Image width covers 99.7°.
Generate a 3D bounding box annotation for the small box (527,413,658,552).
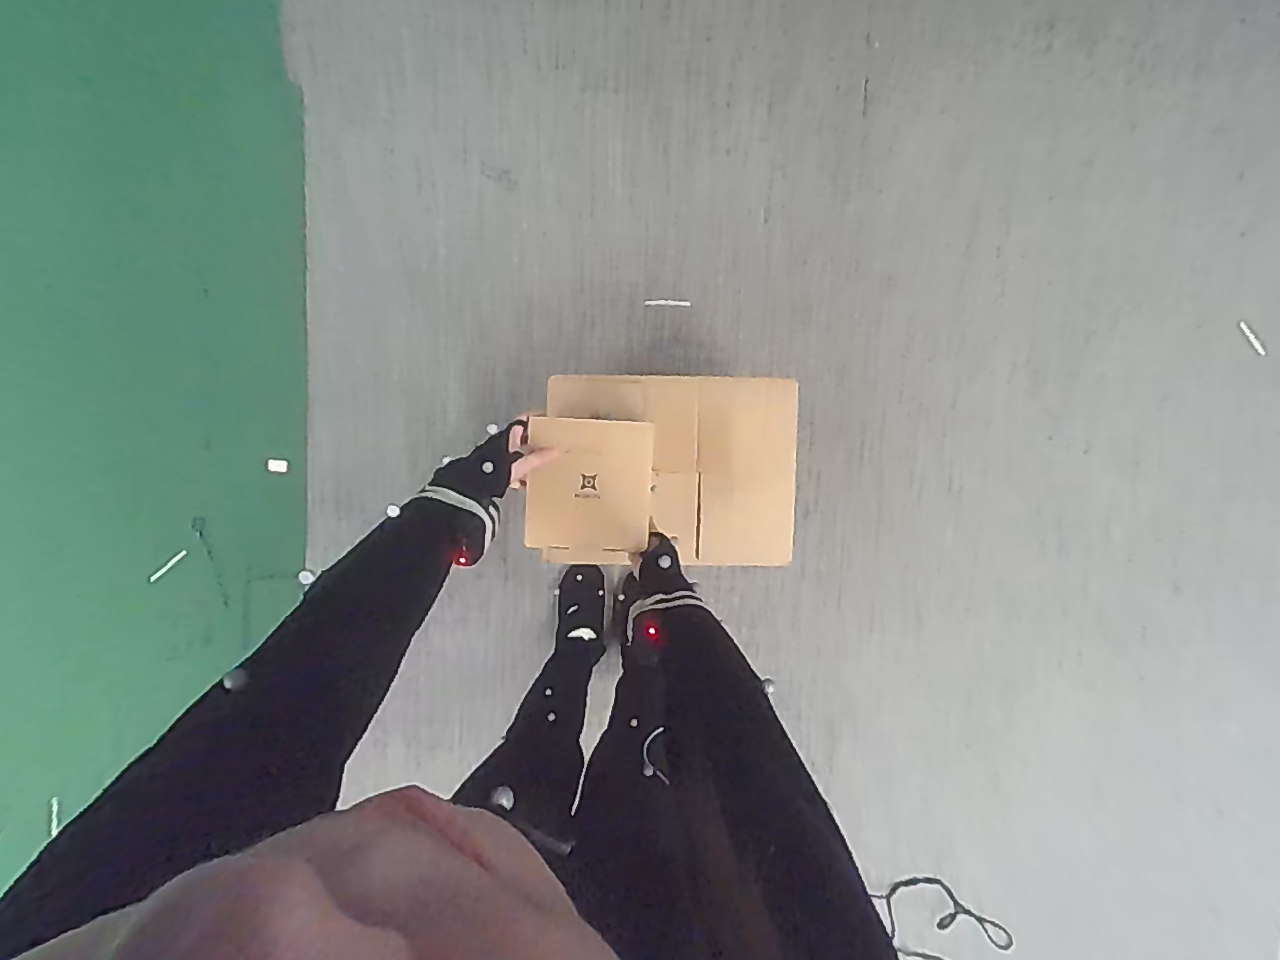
[{"bbox_3d":[-0.063,-0.001,0.786,0.168,0.176,0.179,3,93,-1],"label":"small box"}]
